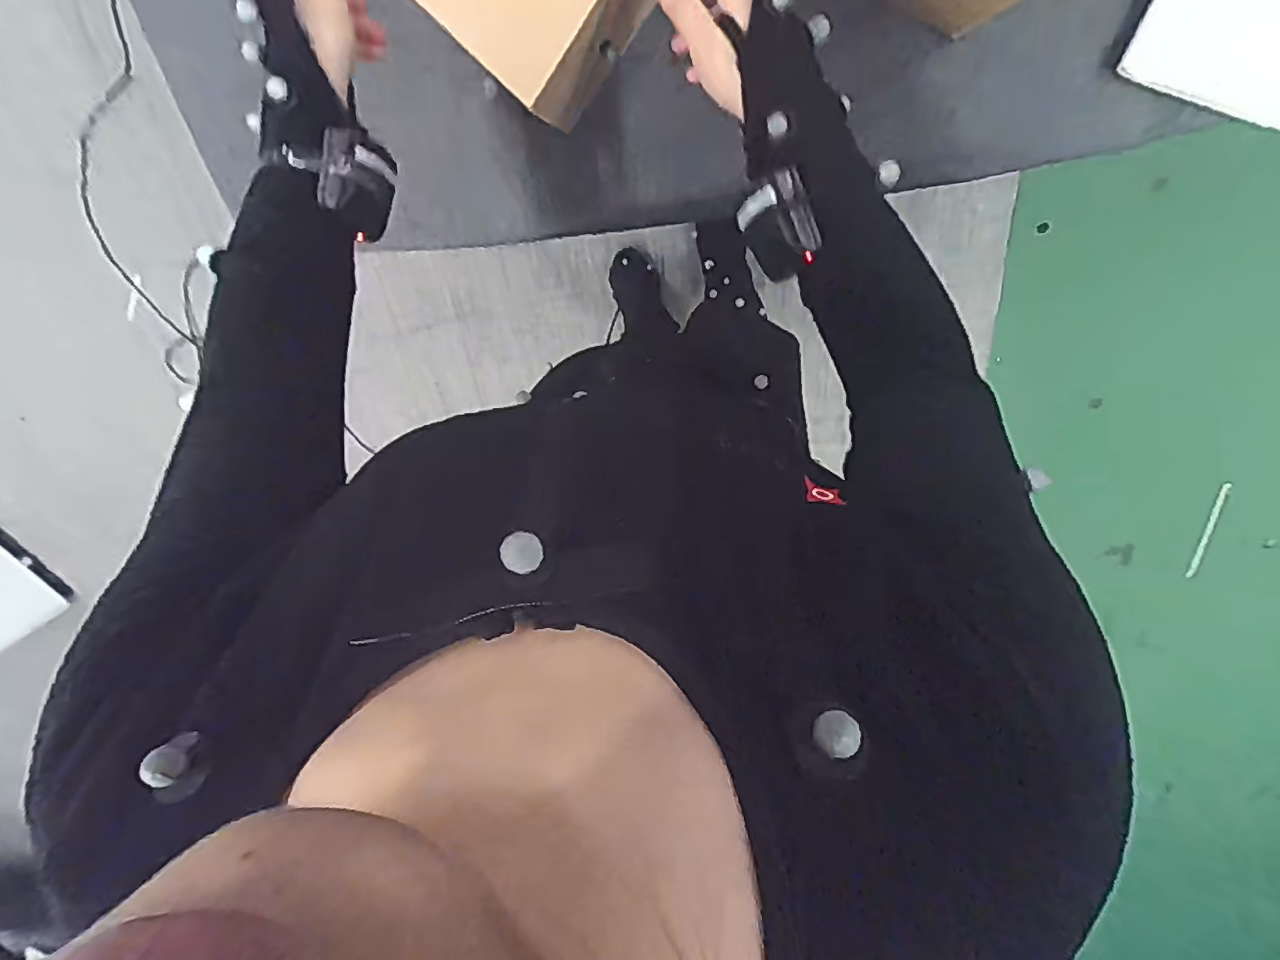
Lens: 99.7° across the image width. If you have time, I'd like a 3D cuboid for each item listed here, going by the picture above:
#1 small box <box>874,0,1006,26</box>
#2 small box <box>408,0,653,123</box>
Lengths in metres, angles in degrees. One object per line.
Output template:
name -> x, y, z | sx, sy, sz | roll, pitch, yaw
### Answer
small box -> 0.241, -0.478, 0.398 | 0.179, 0.176, 0.168 | 21, 117, -5
small box -> -0.095, -0.434, 0.451 | 0.179, 0.176, 0.168 | 38, 113, -14
